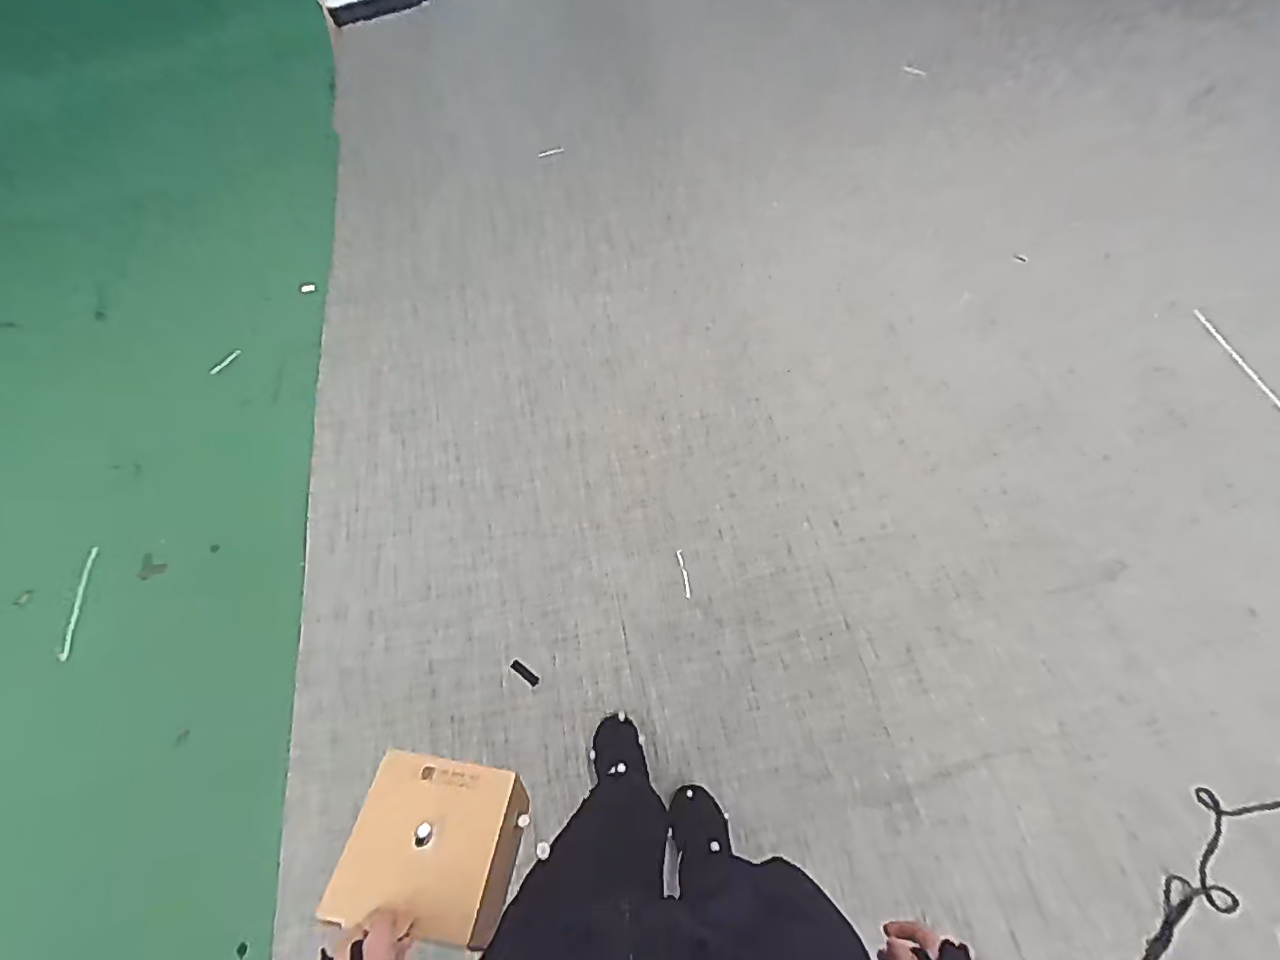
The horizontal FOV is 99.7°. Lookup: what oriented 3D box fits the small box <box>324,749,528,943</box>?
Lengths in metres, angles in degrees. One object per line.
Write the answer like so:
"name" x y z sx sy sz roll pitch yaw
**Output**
"small box" -0.245 0.452 0.672 0.168 0.179 0.176 9 51 2
